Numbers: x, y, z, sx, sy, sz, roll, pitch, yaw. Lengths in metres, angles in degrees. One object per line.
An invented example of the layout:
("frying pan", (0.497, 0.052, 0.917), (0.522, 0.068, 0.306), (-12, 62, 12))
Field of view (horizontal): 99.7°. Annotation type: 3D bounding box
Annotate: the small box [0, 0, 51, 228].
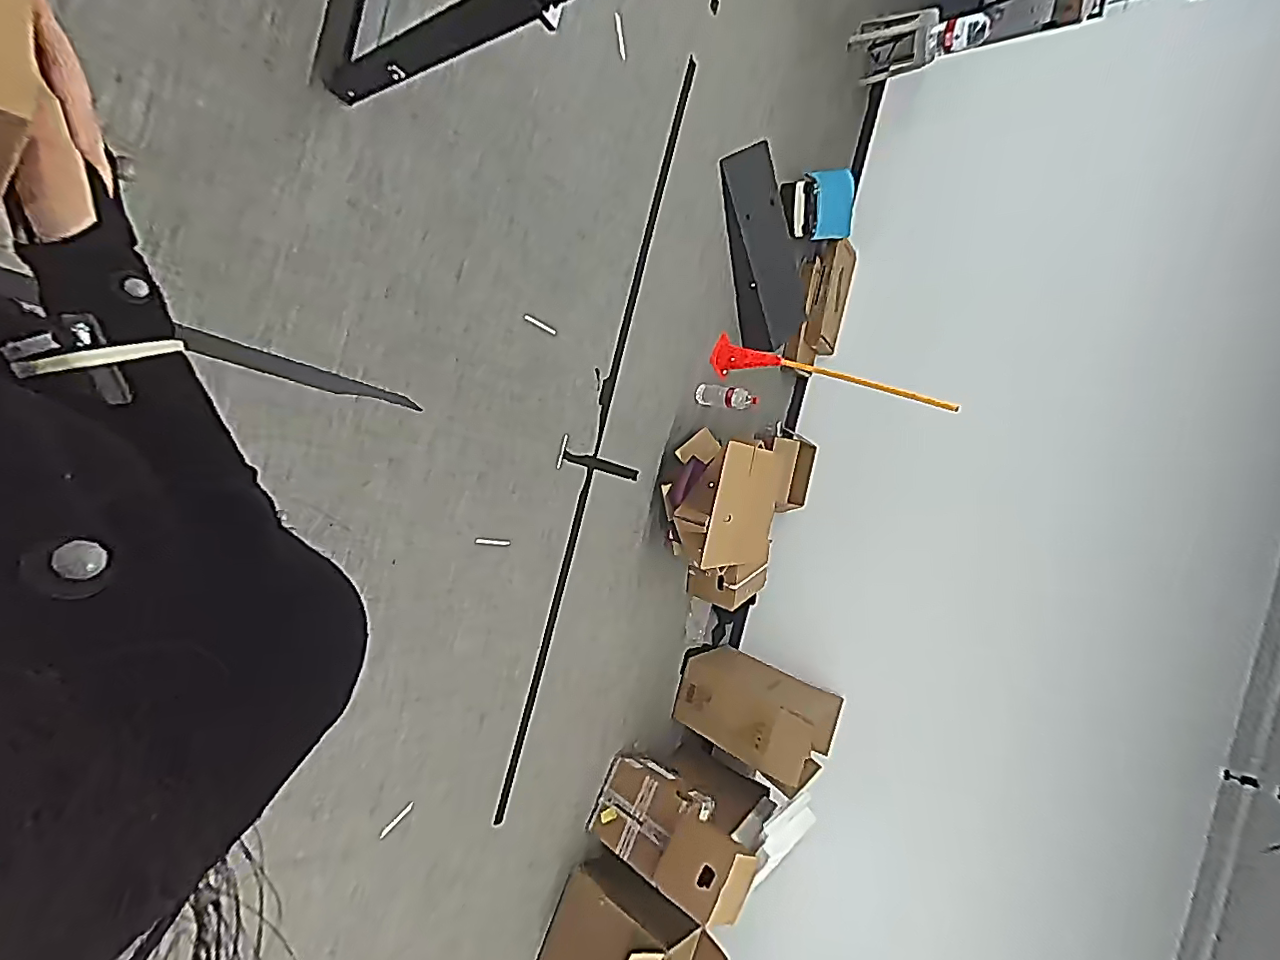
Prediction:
("small box", (-0.403, -0.240, 0.242), (0.168, 0.176, 0.179), (0, 83, -56))
